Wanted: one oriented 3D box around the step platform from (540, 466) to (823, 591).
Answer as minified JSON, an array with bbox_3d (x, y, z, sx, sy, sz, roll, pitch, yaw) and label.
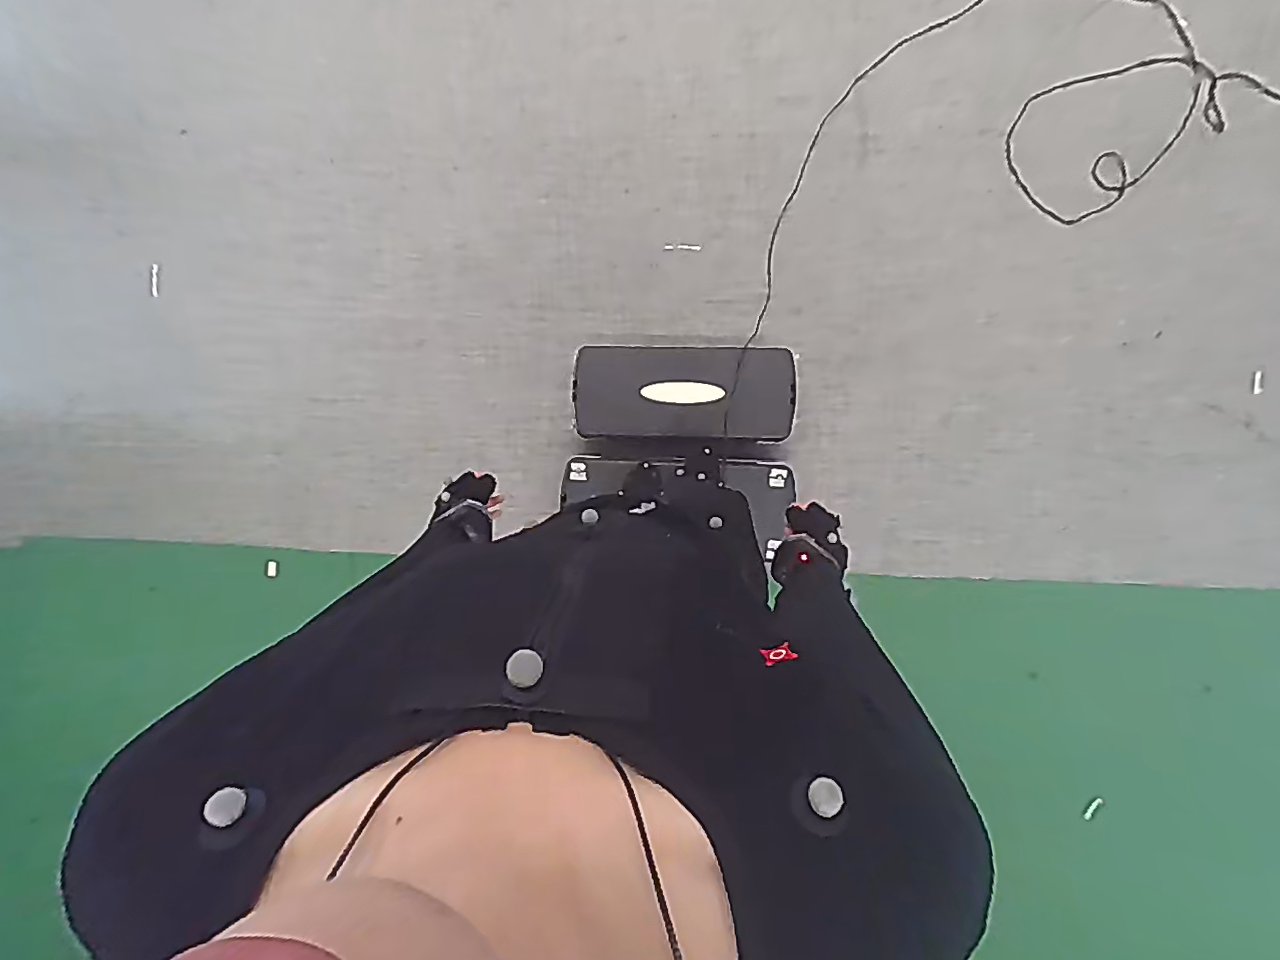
[{"bbox_3d":[0.100,0.115,1.392,0.684,0.204,0.286,2,91,3],"label":"step platform"}]
